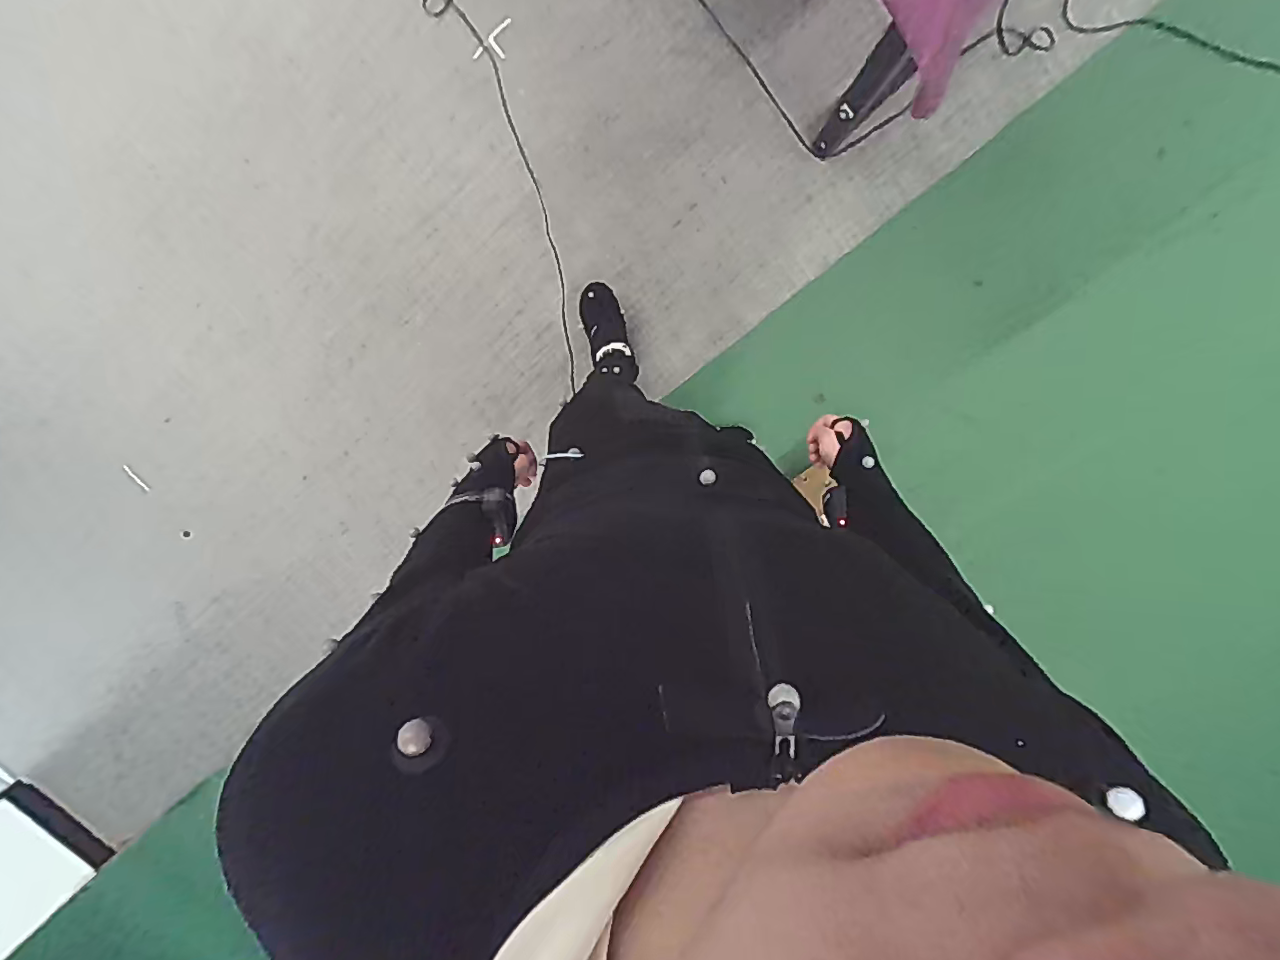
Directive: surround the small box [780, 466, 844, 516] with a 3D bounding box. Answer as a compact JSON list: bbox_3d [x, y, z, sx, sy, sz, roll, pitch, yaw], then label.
[{"bbox_3d":[0.526,0.083,1.545,0.168,0.176,0.179,-37,99,12],"label":"small box"}]
